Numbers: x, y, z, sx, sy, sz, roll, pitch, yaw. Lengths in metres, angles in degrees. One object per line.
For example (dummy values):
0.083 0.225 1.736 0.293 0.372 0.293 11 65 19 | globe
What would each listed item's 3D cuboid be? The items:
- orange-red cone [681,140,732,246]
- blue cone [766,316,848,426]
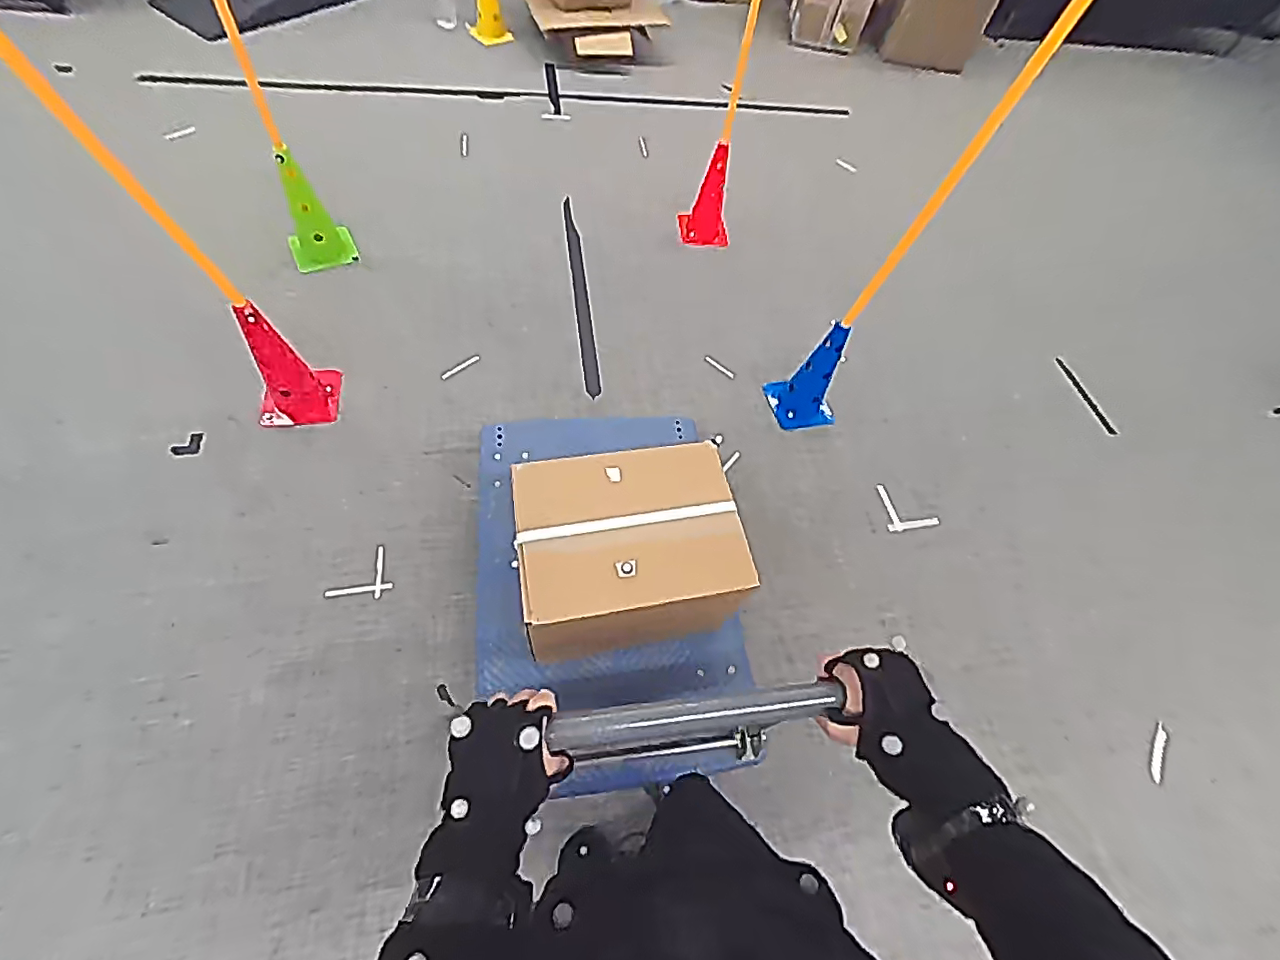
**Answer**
0.291 -1.122 2.086 0.199 0.360 0.198 2 60 -8 | orange-red cone
0.557 -0.348 1.685 0.193 0.380 0.192 -8 60 -13 | blue cone
